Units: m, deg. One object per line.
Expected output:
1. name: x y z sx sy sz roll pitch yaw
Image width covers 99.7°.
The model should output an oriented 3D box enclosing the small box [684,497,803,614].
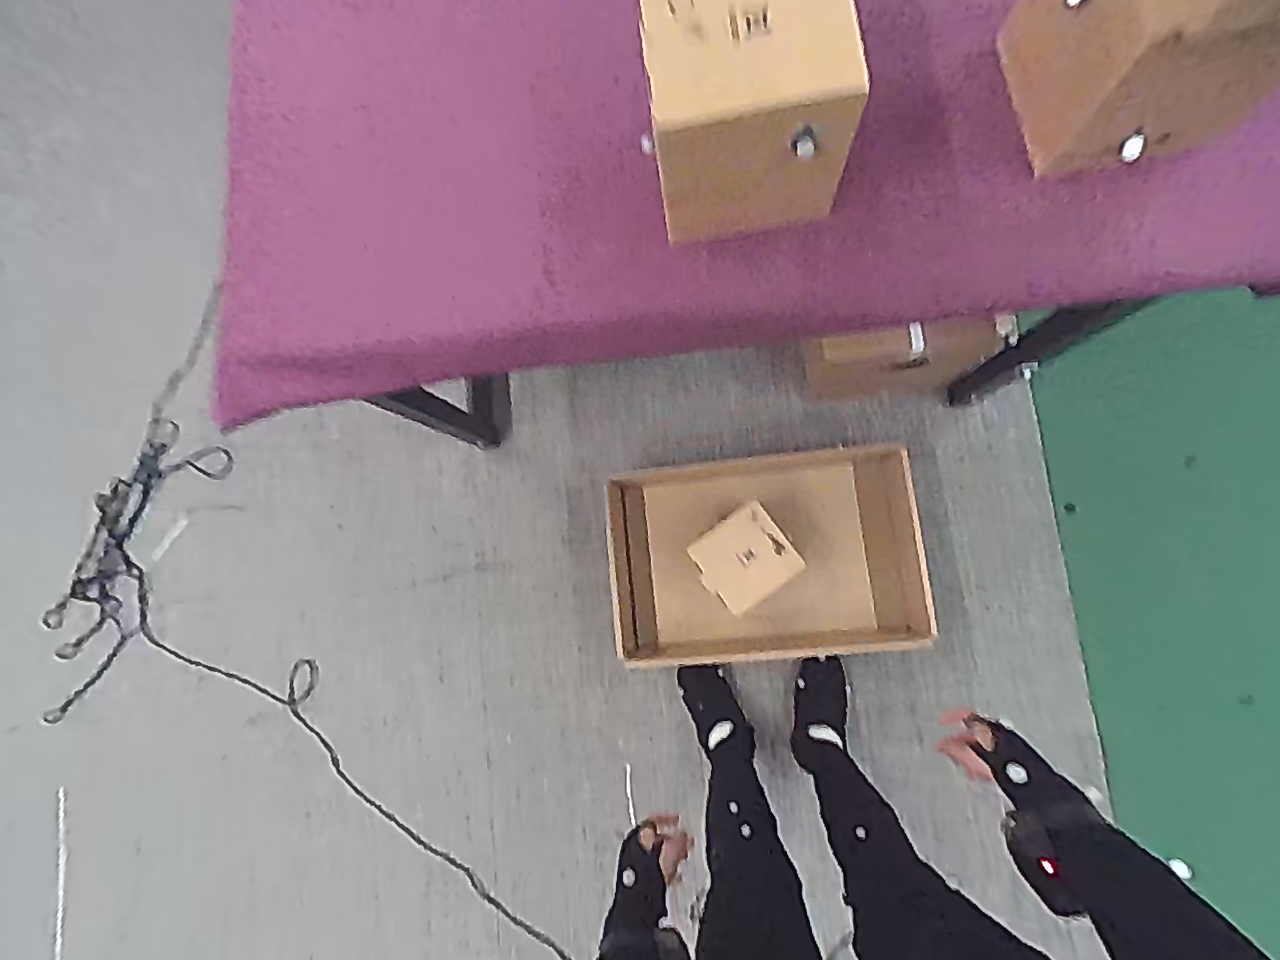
1. small box: 0.214 0.157 1.130 0.179 0.176 0.168 -36 79 3

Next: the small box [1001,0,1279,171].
1. small box: 0.454 -0.418 0.474 0.168 0.176 0.179 -9 81 8

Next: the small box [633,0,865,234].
1. small box: 0.094 -0.368 0.520 0.179 0.176 0.168 -7 81 8
